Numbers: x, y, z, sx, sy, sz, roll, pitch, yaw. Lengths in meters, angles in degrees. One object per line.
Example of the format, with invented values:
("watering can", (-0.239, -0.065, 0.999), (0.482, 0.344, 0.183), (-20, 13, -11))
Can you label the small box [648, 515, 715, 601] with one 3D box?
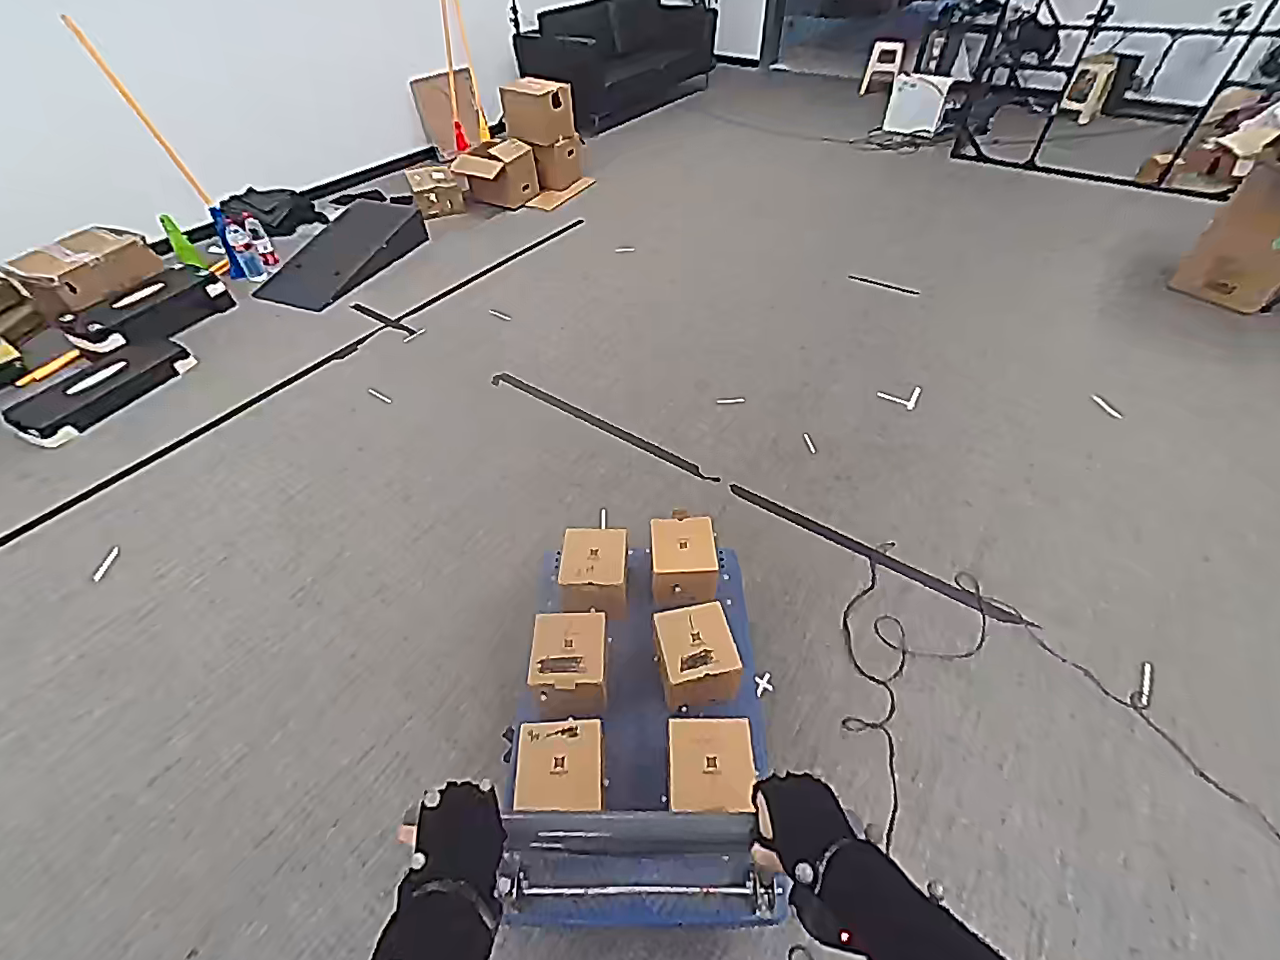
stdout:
("small box", (0.110, 0.219, 1.481), (0.168, 0.176, 0.179), (-3, 47, -1))

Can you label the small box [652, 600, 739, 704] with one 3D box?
("small box", (0.127, 0.417, 1.294), (0.168, 0.176, 0.179), (-9, 47, -8))

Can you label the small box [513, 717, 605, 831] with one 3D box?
("small box", (-0.158, 0.611, 1.116), (0.168, 0.176, 0.179), (-2, 47, -3))

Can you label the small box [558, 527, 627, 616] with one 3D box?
("small box", (-0.122, 0.247, 1.456), (0.168, 0.176, 0.179), (1, 48, 2))

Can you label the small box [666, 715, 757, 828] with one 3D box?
("small box", (0.141, 0.606, 1.118), (0.168, 0.176, 0.179), (0, 46, 0))
